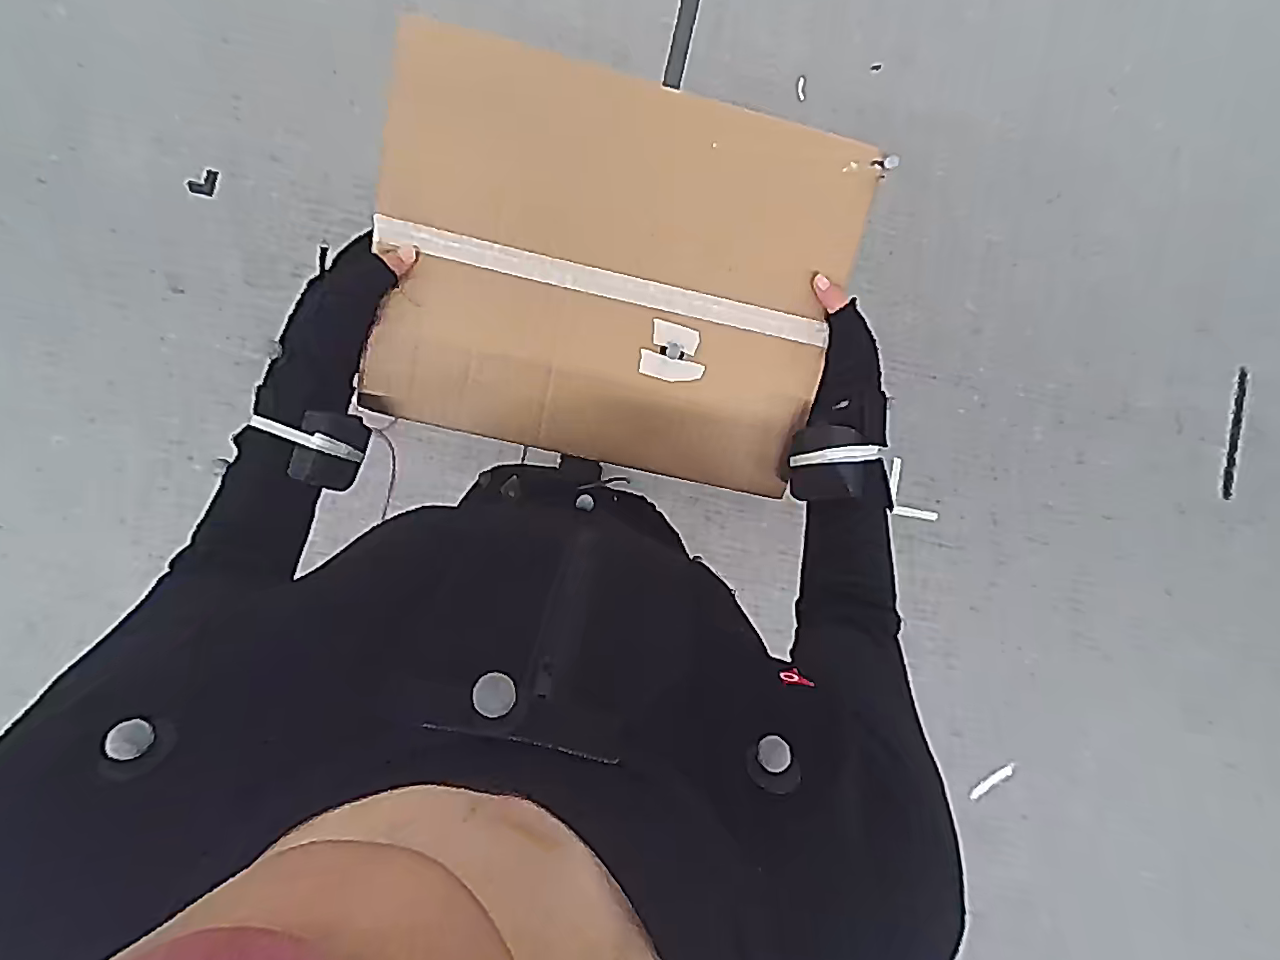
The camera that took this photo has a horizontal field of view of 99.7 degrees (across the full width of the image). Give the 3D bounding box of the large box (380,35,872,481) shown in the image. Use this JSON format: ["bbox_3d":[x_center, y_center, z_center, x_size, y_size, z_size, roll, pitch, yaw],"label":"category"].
[{"bbox_3d":[-0.029,-0.217,0.632,0.408,0.320,0.320,12,105,-5],"label":"large box"}]
